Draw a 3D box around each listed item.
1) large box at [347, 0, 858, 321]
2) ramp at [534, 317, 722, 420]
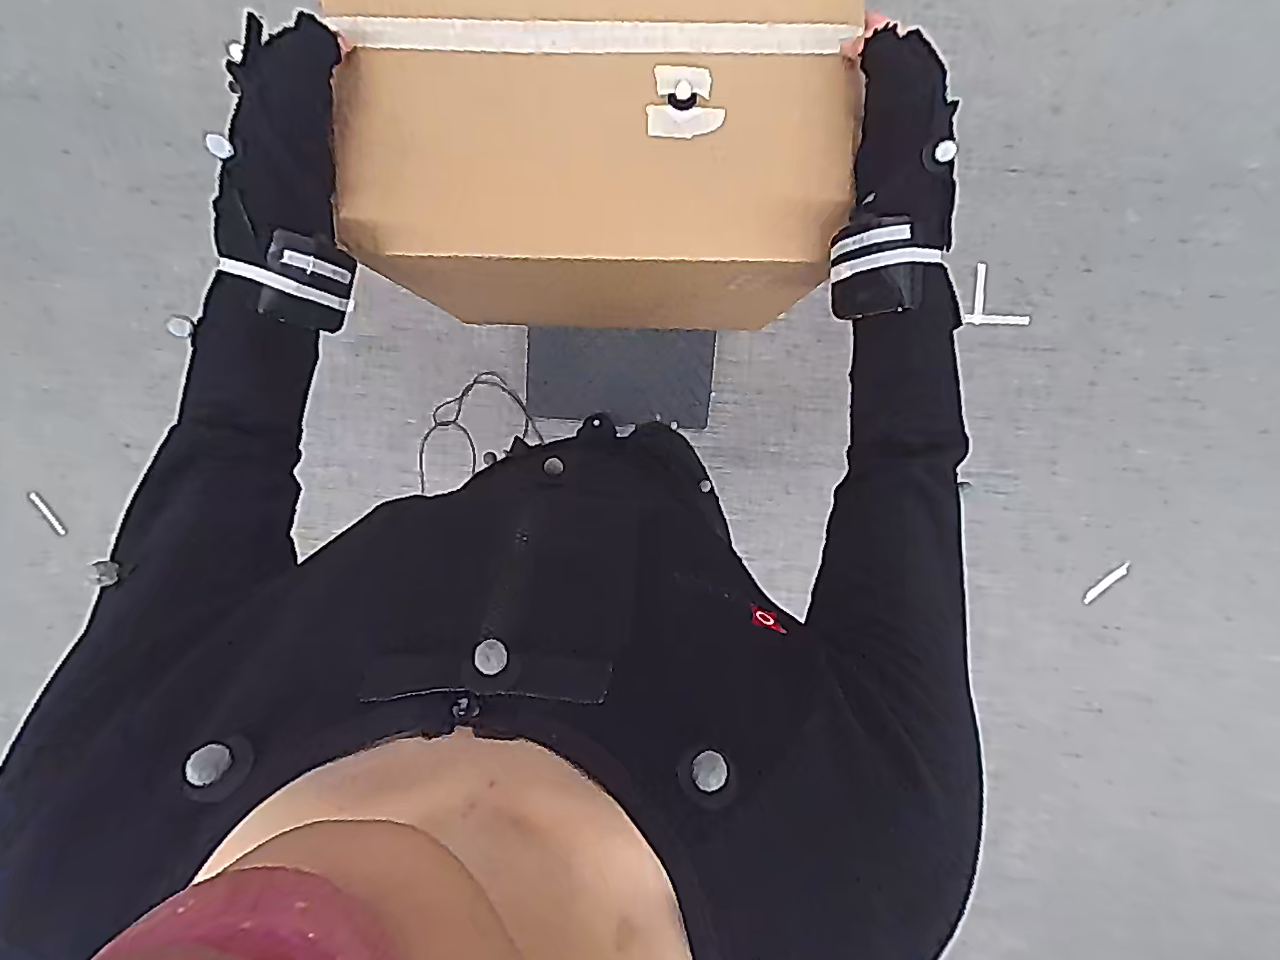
[{"bbox_3d":[-0.032,-0.355,0.570,0.408,0.320,0.320,1,96,-1],"label":"large box"},{"bbox_3d":[-0.012,-0.659,1.348,0.509,0.206,0.991,2,94,-1],"label":"ramp"}]
